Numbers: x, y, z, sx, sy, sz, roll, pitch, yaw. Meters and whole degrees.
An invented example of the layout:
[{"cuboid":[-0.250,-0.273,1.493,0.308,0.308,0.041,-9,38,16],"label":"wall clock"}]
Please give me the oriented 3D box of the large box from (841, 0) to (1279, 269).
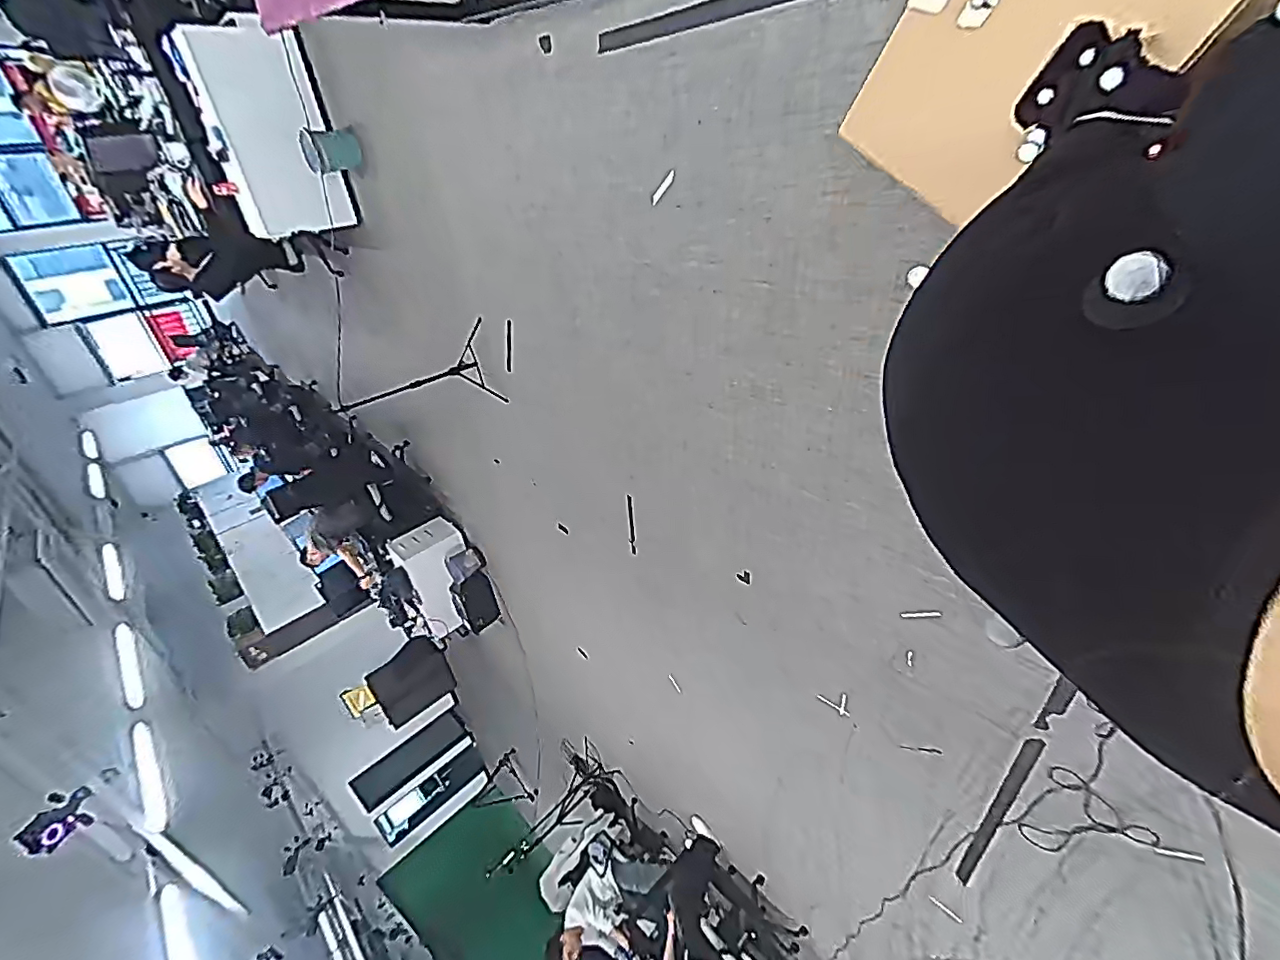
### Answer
[{"cuboid":[0.561,-0.504,0.712,0.320,0.408,0.320,58,143,24],"label":"large box"}]
